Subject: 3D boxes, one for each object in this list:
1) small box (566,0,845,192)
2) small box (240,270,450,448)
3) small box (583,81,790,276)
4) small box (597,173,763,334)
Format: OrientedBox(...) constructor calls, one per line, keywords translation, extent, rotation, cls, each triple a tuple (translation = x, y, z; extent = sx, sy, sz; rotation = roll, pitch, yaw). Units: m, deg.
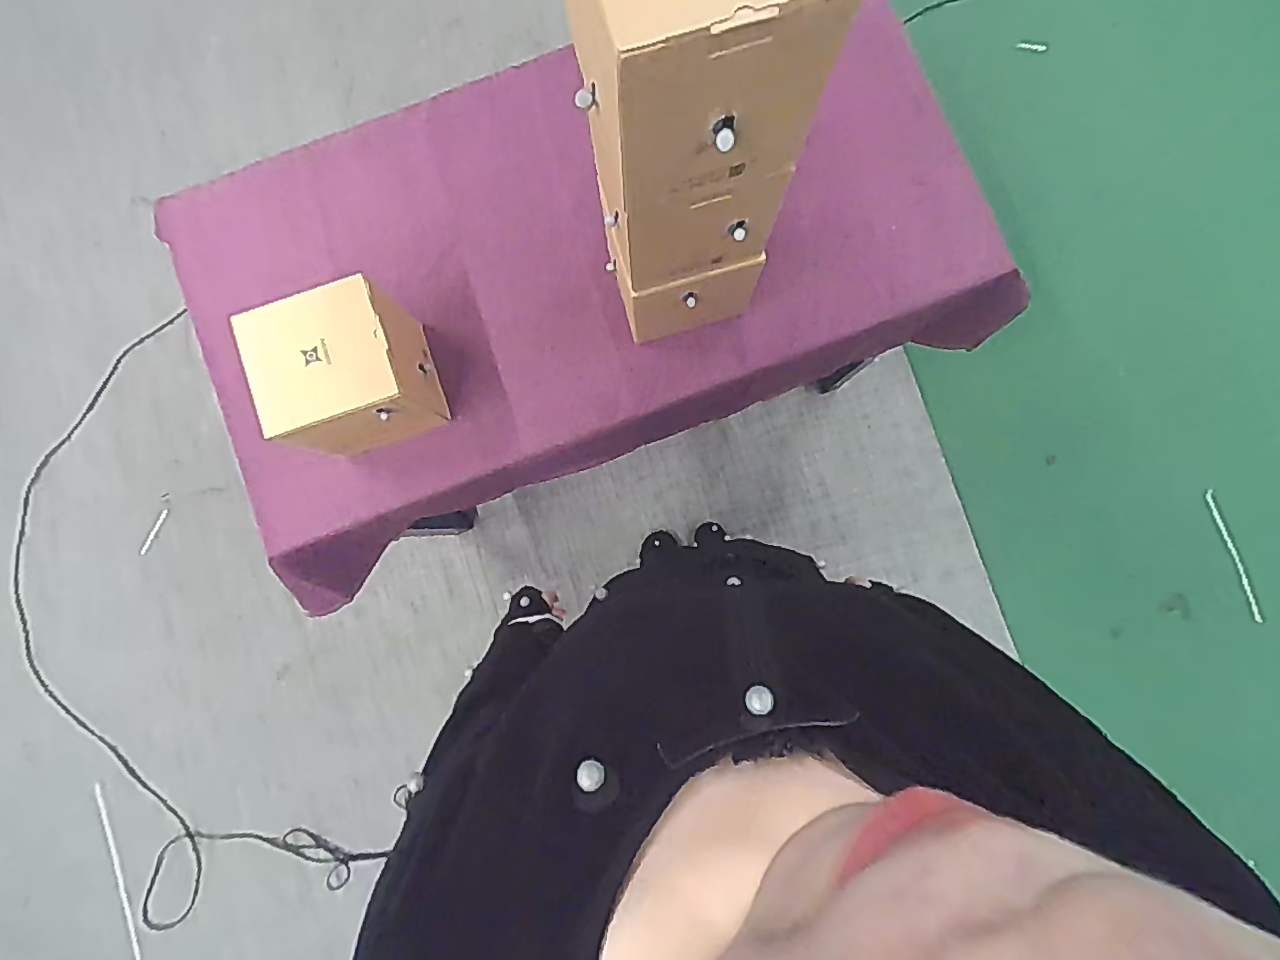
OrientedBox(translation=(0.035, -0.358, 0.422), extent=(0.168, 0.176, 0.179), rotation=(-16, 85, 0), cls="small box")
OrientedBox(translation=(-0.395, -0.153, 0.751), extent=(0.179, 0.176, 0.168), rotation=(-19, 84, 0), cls="small box")
OrientedBox(translation=(0.044, -0.344, 0.586), extent=(0.168, 0.176, 0.179), rotation=(-15, 84, 0), cls="small box")
OrientedBox(translation=(0.053, -0.321, 0.747), extent=(0.179, 0.176, 0.168), rotation=(-15, 85, 1), cls="small box")
